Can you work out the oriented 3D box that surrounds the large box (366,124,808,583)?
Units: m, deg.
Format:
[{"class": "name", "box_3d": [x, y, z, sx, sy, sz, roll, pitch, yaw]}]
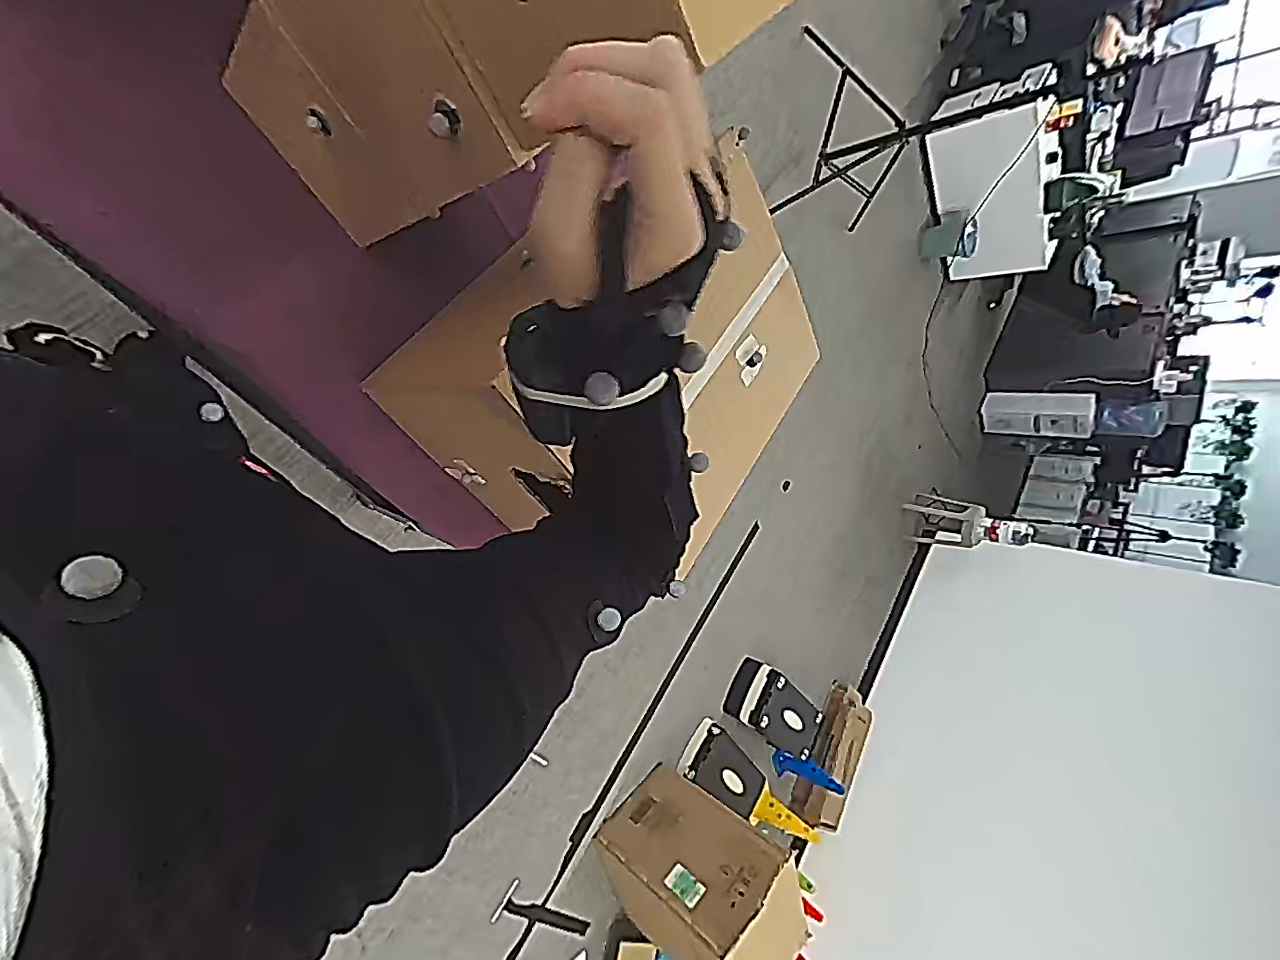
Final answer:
[{"class": "large box", "box_3d": [-0.045, -0.145, 0.686, 0.408, 0.320, 0.320, -56, 132, -24]}]
